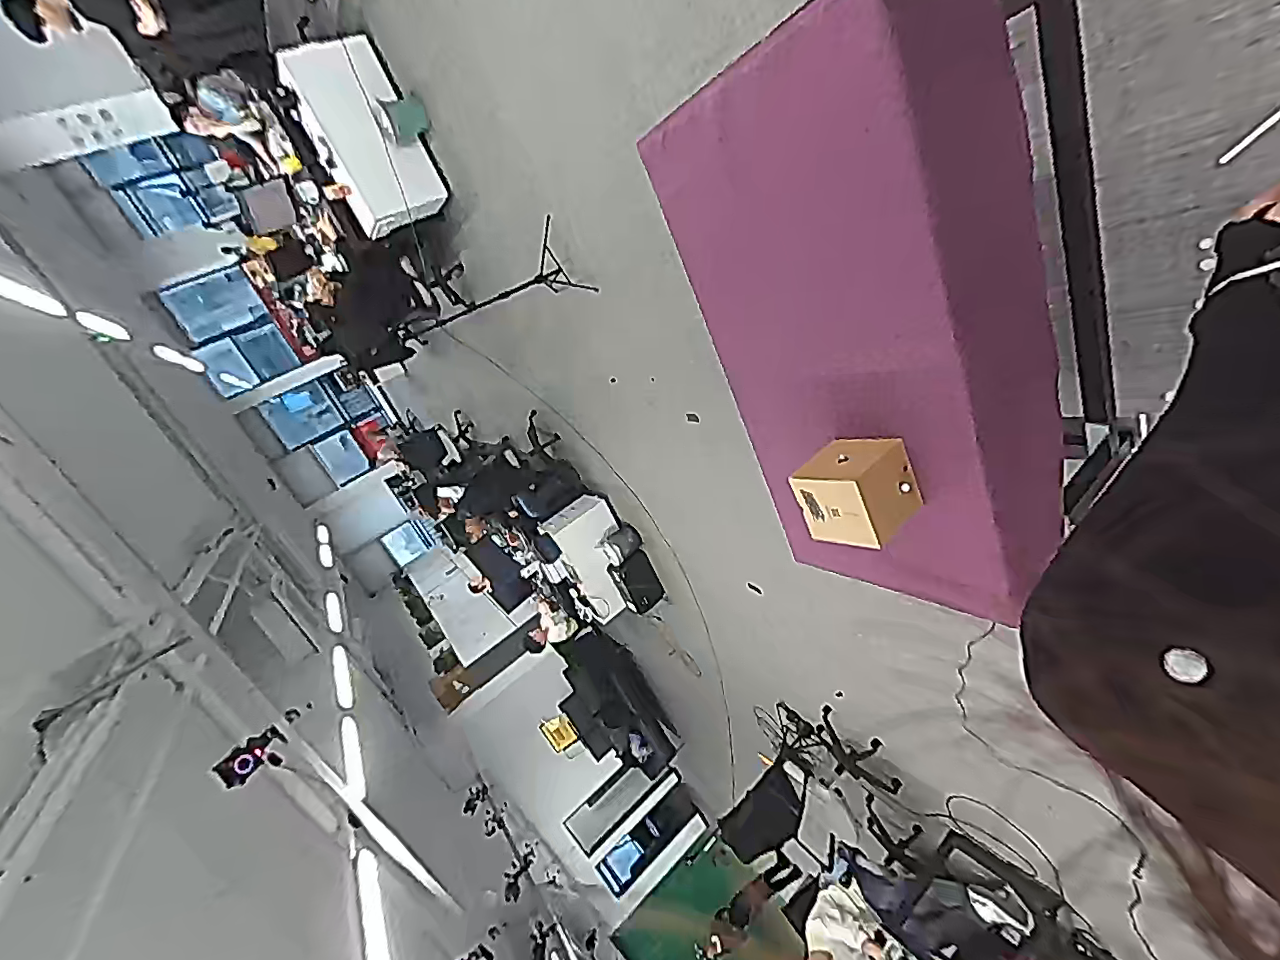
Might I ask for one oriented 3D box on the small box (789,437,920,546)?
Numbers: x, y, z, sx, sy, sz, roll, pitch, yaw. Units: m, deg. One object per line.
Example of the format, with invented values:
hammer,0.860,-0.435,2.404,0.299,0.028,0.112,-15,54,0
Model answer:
small box,0.463,0.016,1.166,0.179,0.176,0.168,5,127,59
